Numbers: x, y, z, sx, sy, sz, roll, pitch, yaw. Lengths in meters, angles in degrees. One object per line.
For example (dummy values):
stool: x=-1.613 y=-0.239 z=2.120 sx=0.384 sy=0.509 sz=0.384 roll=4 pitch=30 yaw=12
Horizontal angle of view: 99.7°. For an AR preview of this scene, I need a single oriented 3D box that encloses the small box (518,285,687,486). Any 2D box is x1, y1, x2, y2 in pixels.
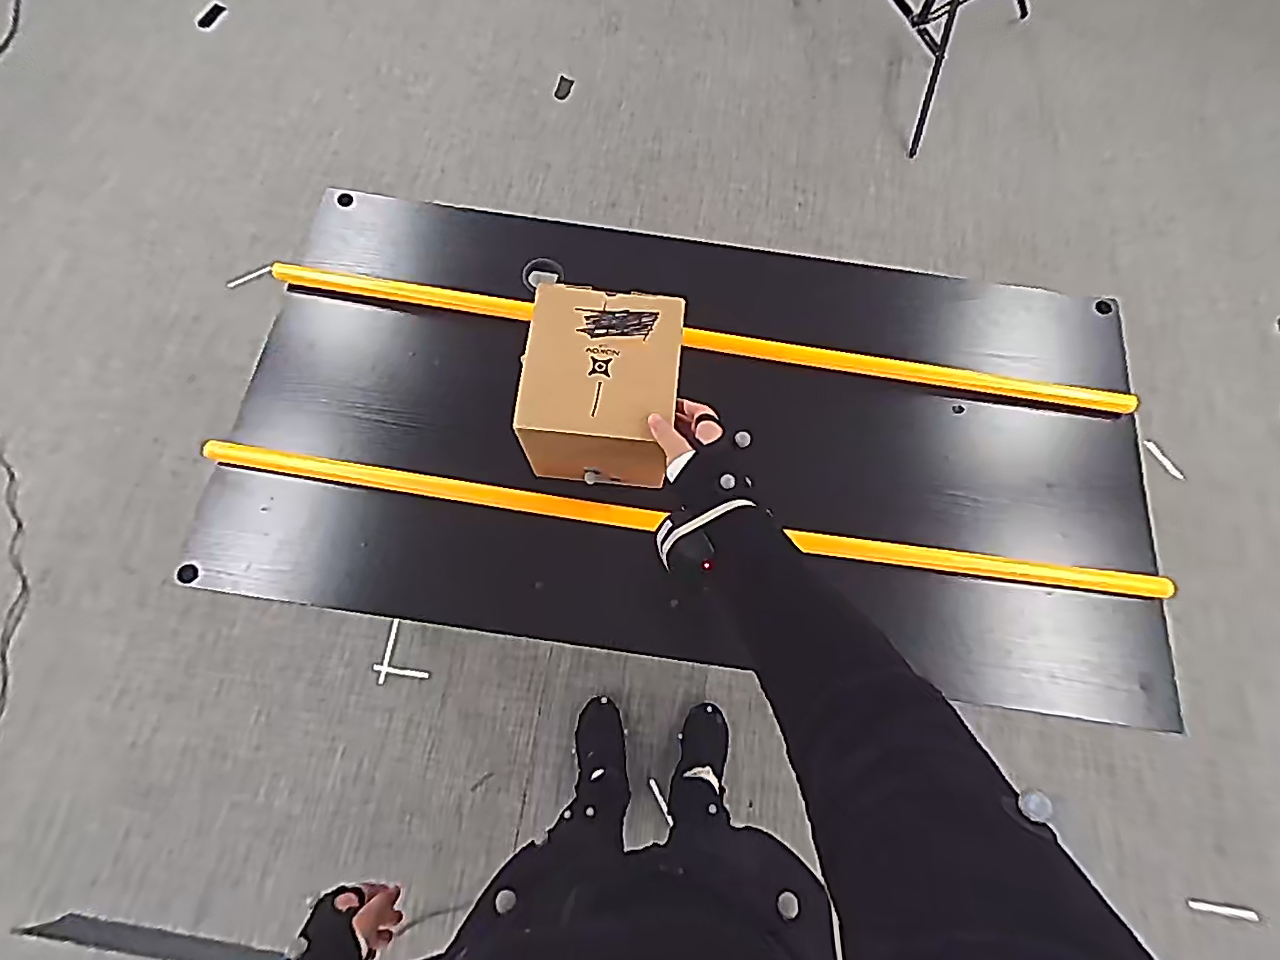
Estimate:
small box: x=-0.040 y=-0.105 z=0.658 sx=0.168 sy=0.176 sz=0.179 roll=6 pitch=73 yaw=0
